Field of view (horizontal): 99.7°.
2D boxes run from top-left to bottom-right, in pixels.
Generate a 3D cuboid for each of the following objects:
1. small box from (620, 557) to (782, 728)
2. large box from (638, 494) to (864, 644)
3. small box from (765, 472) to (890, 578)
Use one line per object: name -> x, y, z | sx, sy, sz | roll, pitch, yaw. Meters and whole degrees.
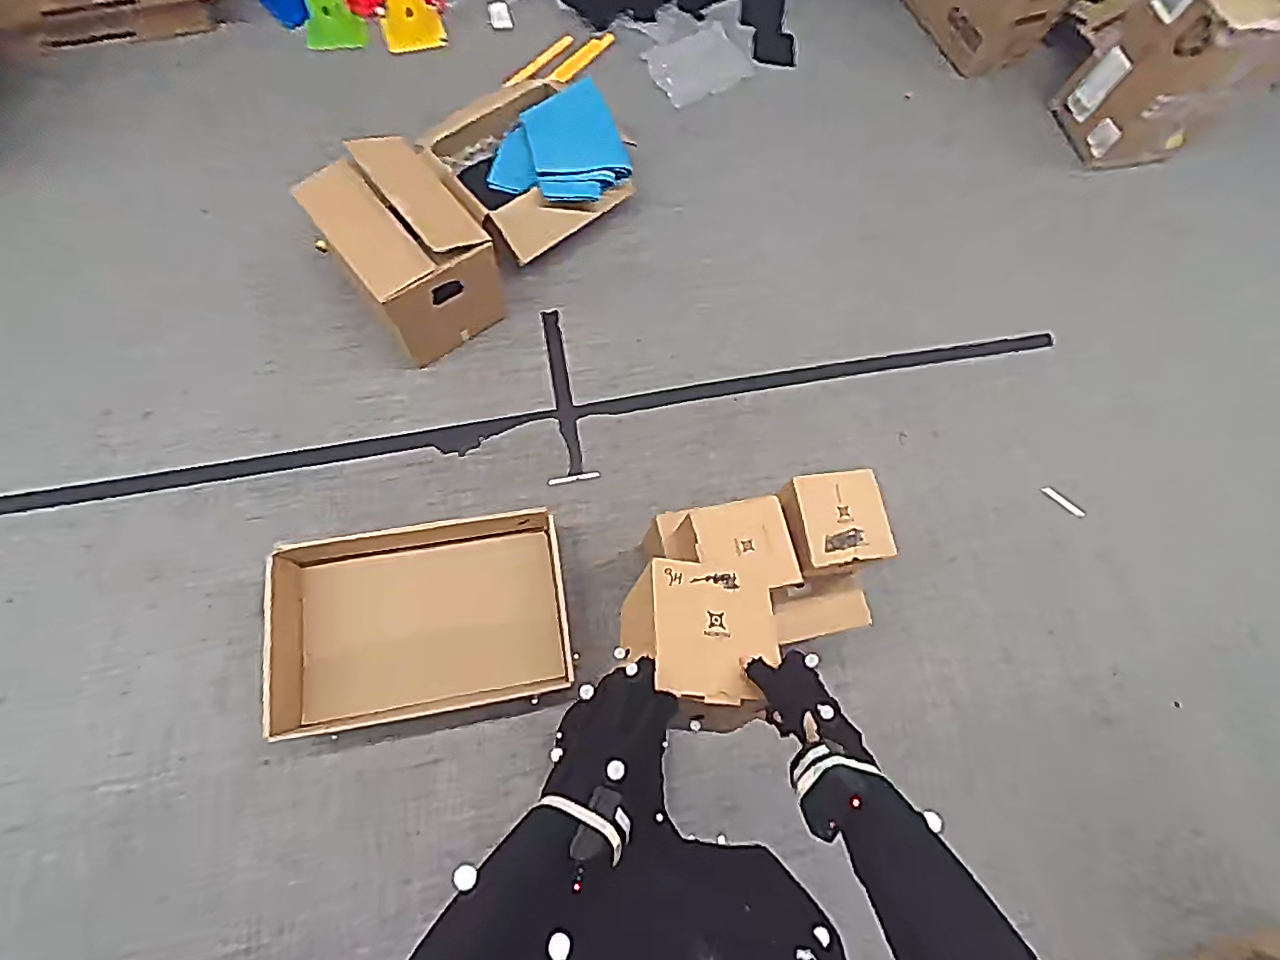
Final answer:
small box -> 0.072, 0.229, 0.738 | 0.168, 0.176, 0.179 | 10, 53, -13
large box -> 0.233, 0.238, 1.289 | 0.408, 0.320, 0.320 | -10, 74, -10
small box -> 0.367, 0.098, 1.091 | 0.168, 0.176, 0.179 | -6, 71, -8
